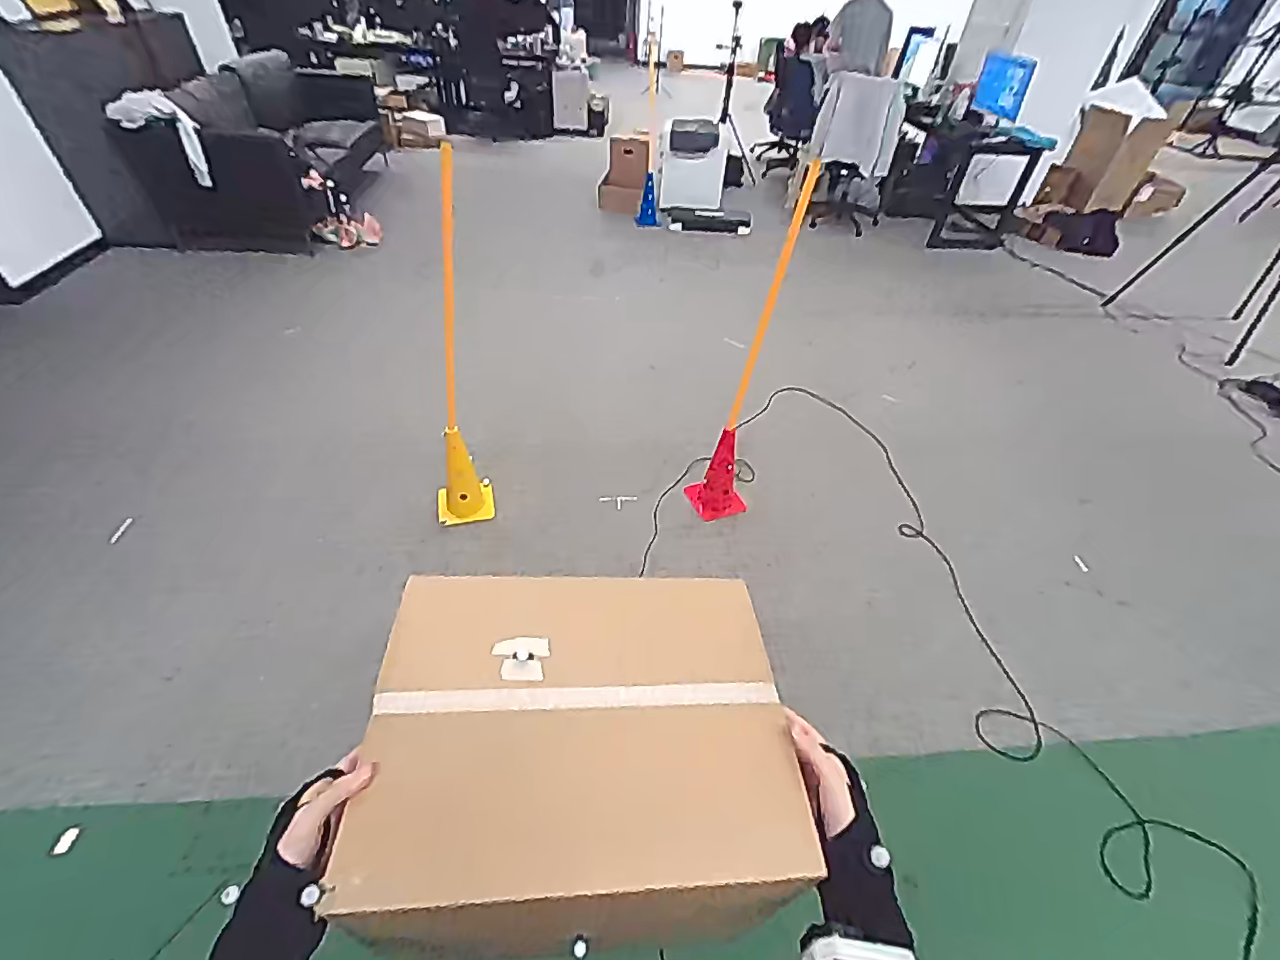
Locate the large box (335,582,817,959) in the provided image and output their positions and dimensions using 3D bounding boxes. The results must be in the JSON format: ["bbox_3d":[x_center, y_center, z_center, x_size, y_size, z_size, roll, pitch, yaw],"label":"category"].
[{"bbox_3d":[-0.068,0.341,0.650,0.408,0.320,0.320,1,42,-8],"label":"large box"}]
